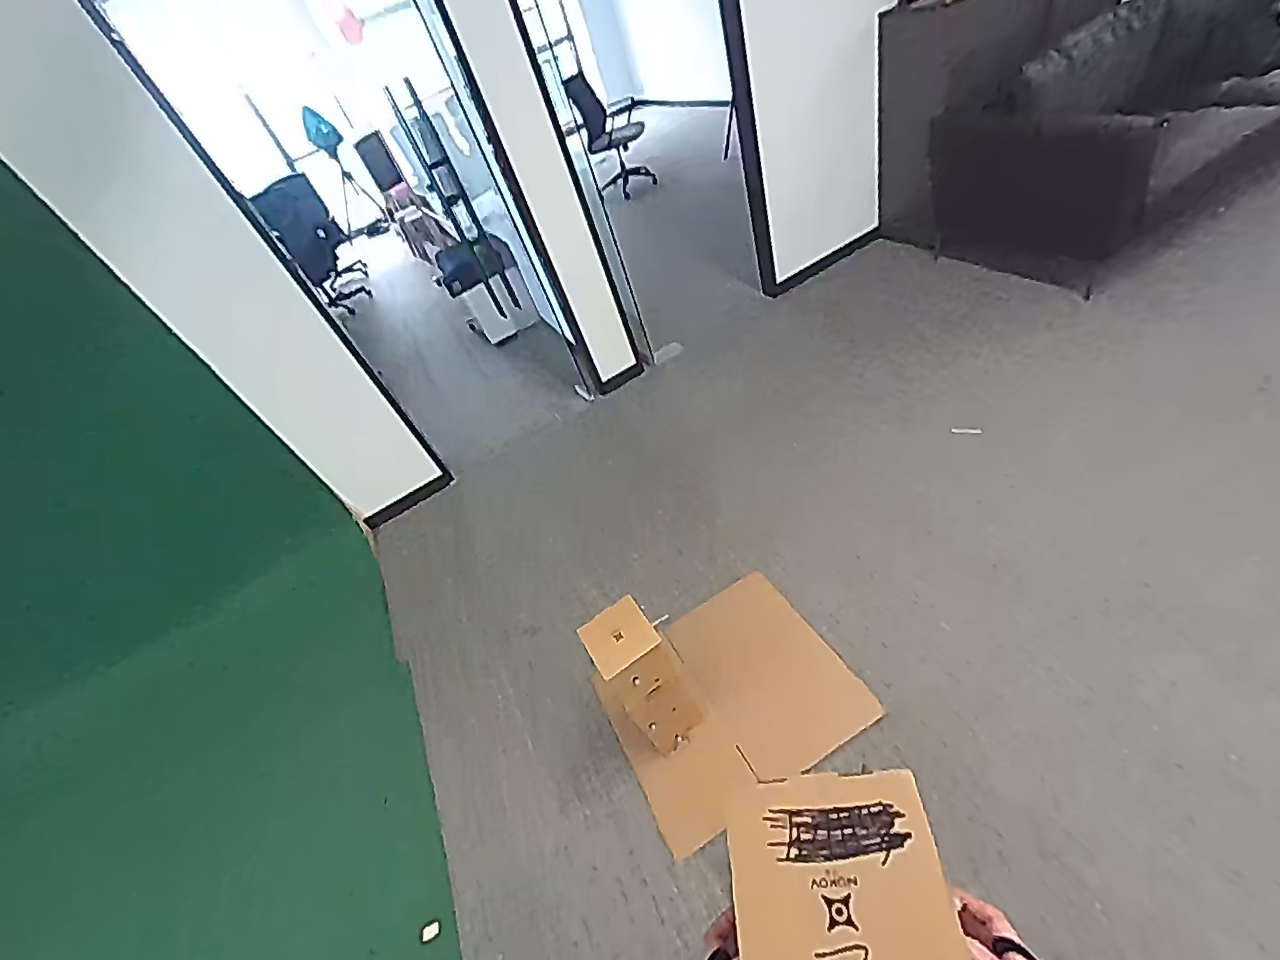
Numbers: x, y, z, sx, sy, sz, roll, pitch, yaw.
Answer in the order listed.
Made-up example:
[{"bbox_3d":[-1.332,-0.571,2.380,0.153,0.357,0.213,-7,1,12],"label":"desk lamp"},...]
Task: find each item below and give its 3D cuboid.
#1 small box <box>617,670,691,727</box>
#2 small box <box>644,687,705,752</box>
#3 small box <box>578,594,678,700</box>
[{"bbox_3d":[0.018,0.548,1.487,0.168,0.176,0.179,-34,42,-11],"label":"small box"},{"bbox_3d":[0.066,0.660,1.596,0.168,0.176,0.179,-36,44,-13],"label":"small box"},{"bbox_3d":[-0.027,0.434,1.381,0.168,0.176,0.179,-33,42,-11],"label":"small box"}]
